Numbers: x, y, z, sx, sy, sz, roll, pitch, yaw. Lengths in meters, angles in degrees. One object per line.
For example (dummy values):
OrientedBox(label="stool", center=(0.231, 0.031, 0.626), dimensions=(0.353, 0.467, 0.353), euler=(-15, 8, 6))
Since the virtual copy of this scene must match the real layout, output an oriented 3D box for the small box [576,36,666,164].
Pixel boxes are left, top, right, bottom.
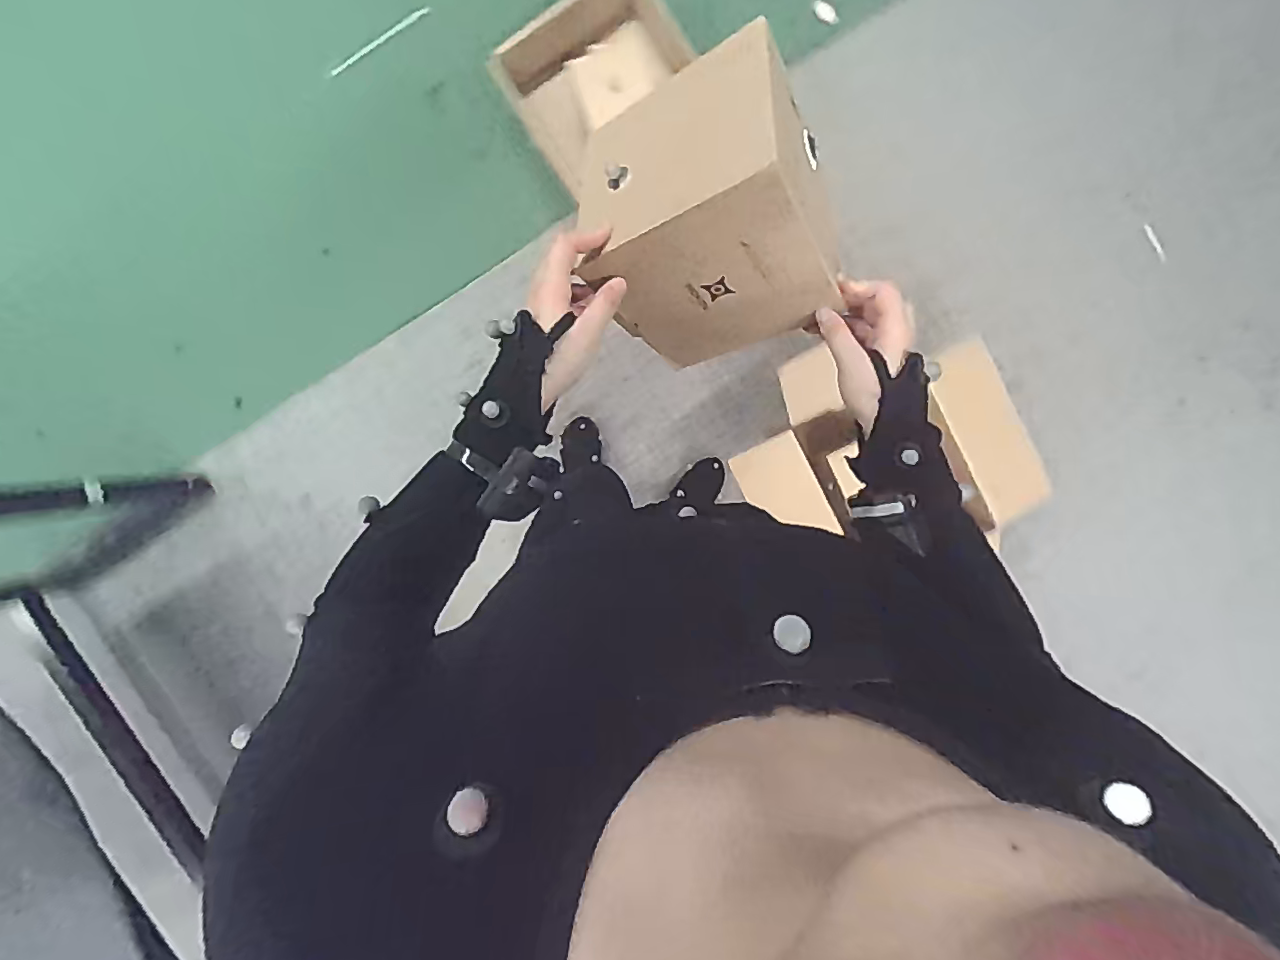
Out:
OrientedBox(label="small box", center=(-0.040, -0.902, 1.309), dimensions=(0.168, 0.176, 0.179), euler=(-20, 93, 2))
